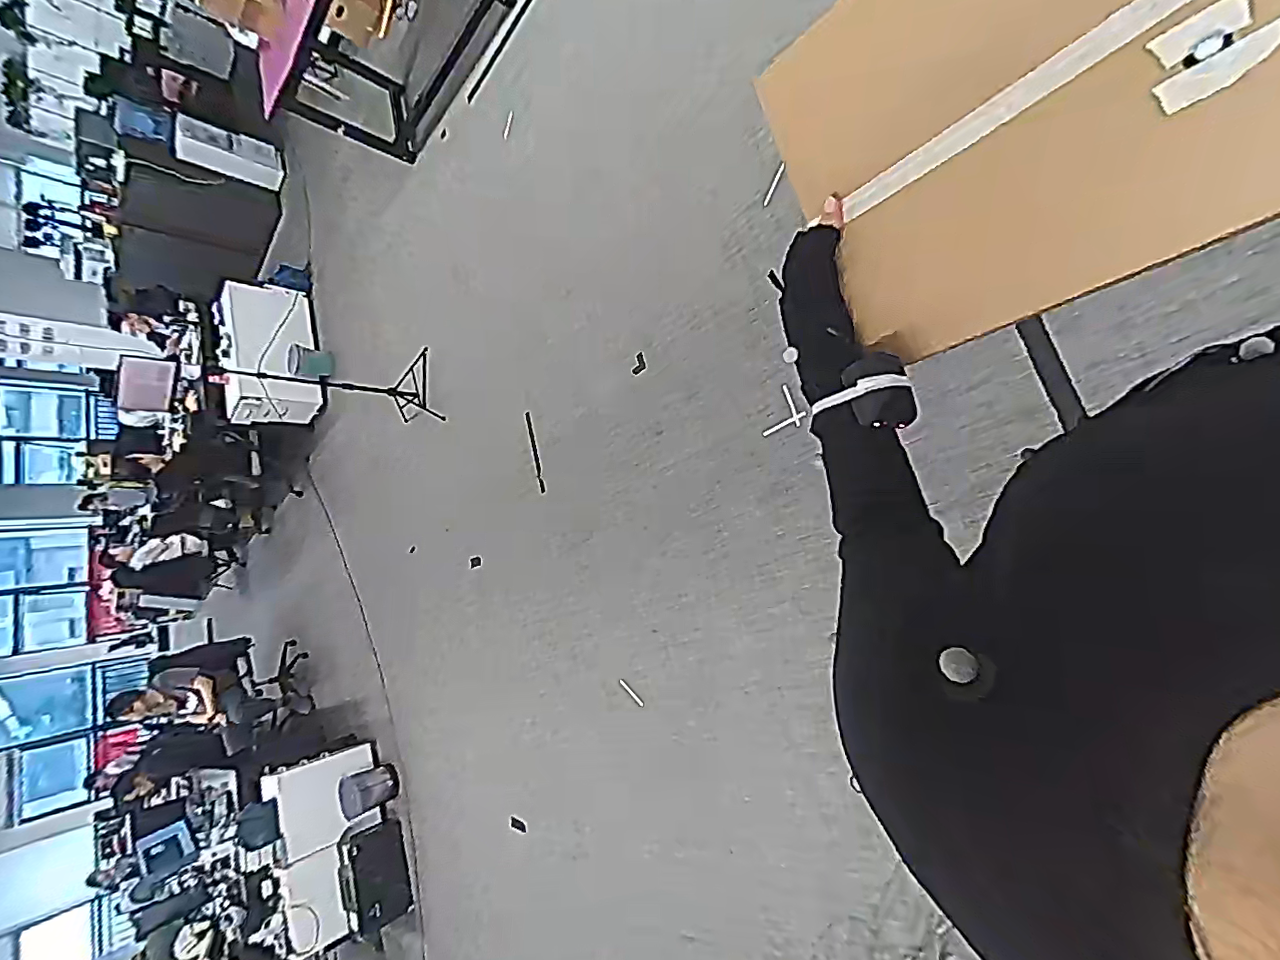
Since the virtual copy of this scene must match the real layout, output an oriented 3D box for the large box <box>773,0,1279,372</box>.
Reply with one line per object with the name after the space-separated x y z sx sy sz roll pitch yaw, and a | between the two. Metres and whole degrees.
0.413 -0.339 0.513 0.408 0.320 0.320 -21 92 44 | large box
